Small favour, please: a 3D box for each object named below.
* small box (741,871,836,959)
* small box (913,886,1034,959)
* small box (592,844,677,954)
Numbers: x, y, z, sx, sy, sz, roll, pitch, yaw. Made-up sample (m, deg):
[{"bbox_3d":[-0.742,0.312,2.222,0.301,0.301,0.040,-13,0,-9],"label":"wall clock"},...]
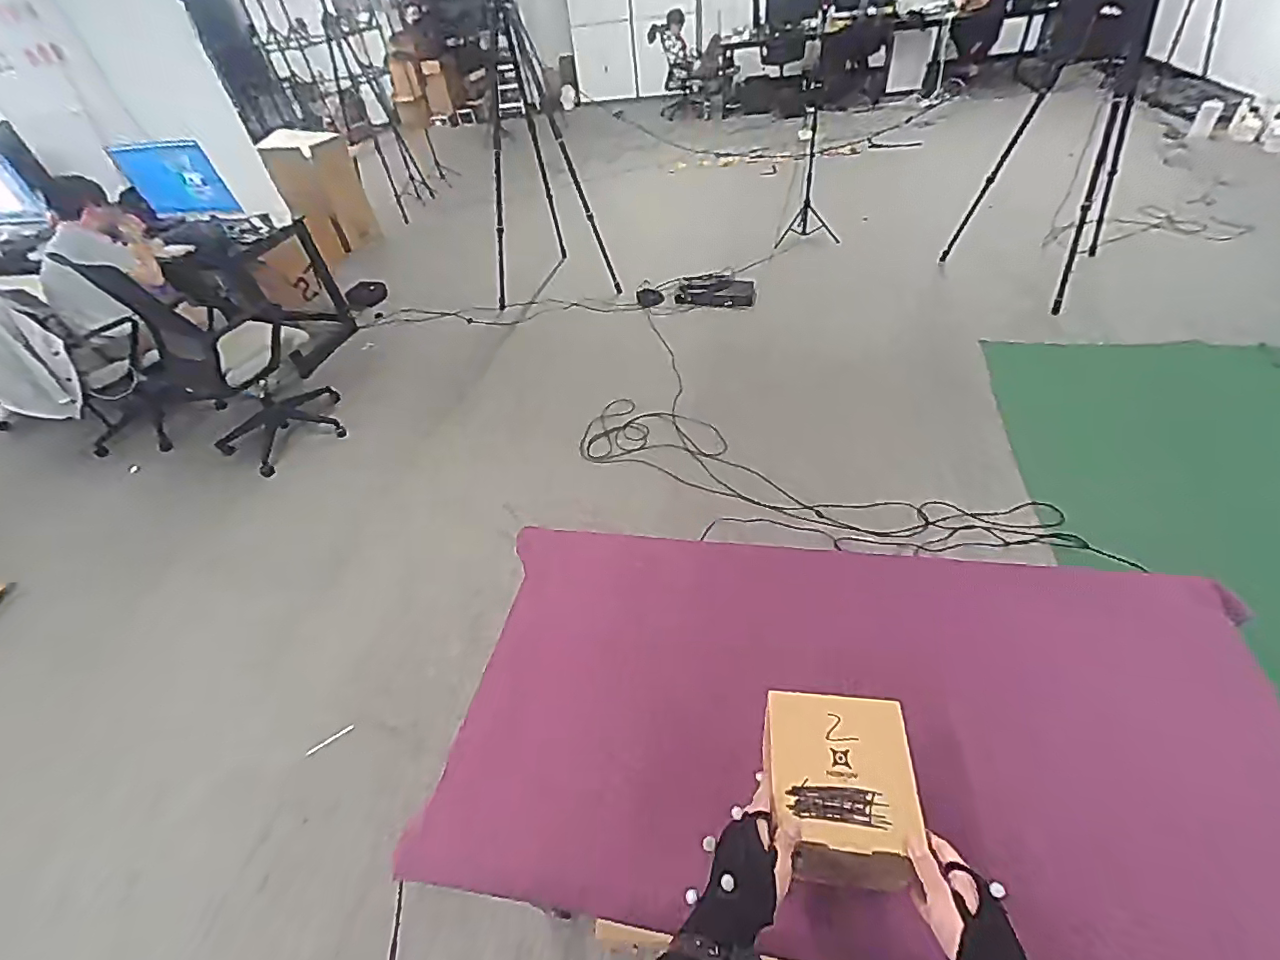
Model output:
[{"bbox_3d":[0.308,0.956,1.151,0.179,0.176,0.168,-2,43,8],"label":"small box"},{"bbox_3d":[0.671,0.956,1.091,0.168,0.176,0.179,2,44,10],"label":"small box"},{"bbox_3d":[-0.004,0.942,1.214,0.168,0.176,0.179,-2,44,6],"label":"small box"}]
